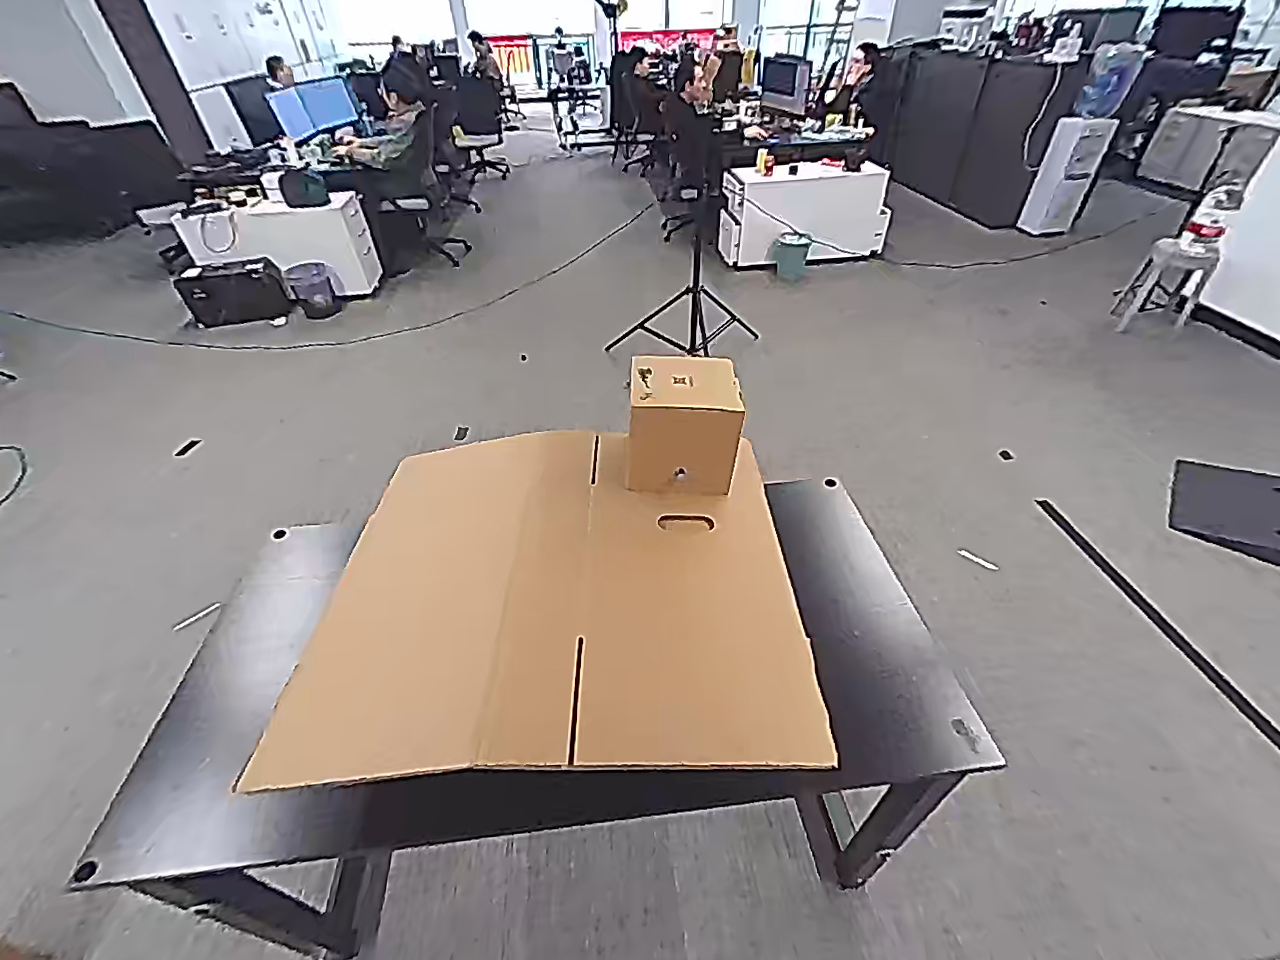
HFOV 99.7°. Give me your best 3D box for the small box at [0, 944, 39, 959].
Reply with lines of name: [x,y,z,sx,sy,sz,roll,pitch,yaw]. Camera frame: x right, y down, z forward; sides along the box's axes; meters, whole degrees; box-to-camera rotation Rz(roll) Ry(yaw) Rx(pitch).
small box: [-1.346,1.043,1.052,0.168,0.176,0.179,-8,42,-7]

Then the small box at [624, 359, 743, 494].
small box: [0.066,-0.090,0.929,0.179,0.176,0.168,3,39,-2]
